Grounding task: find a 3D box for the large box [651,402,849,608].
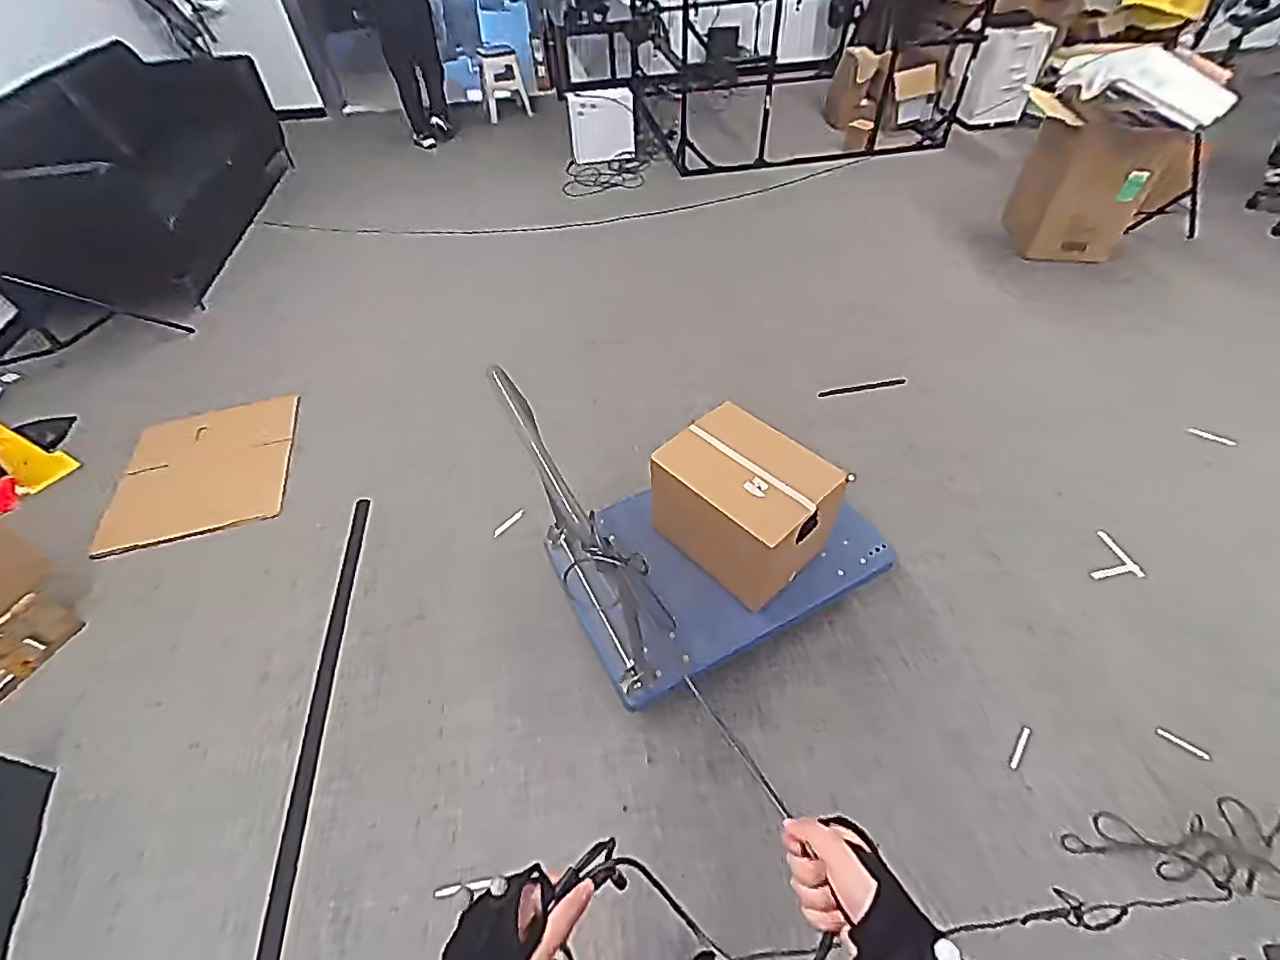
[{"bbox_3d":[0.272,0.062,1.468,0.320,0.320,0.408,-36,58,-24],"label":"large box"}]
